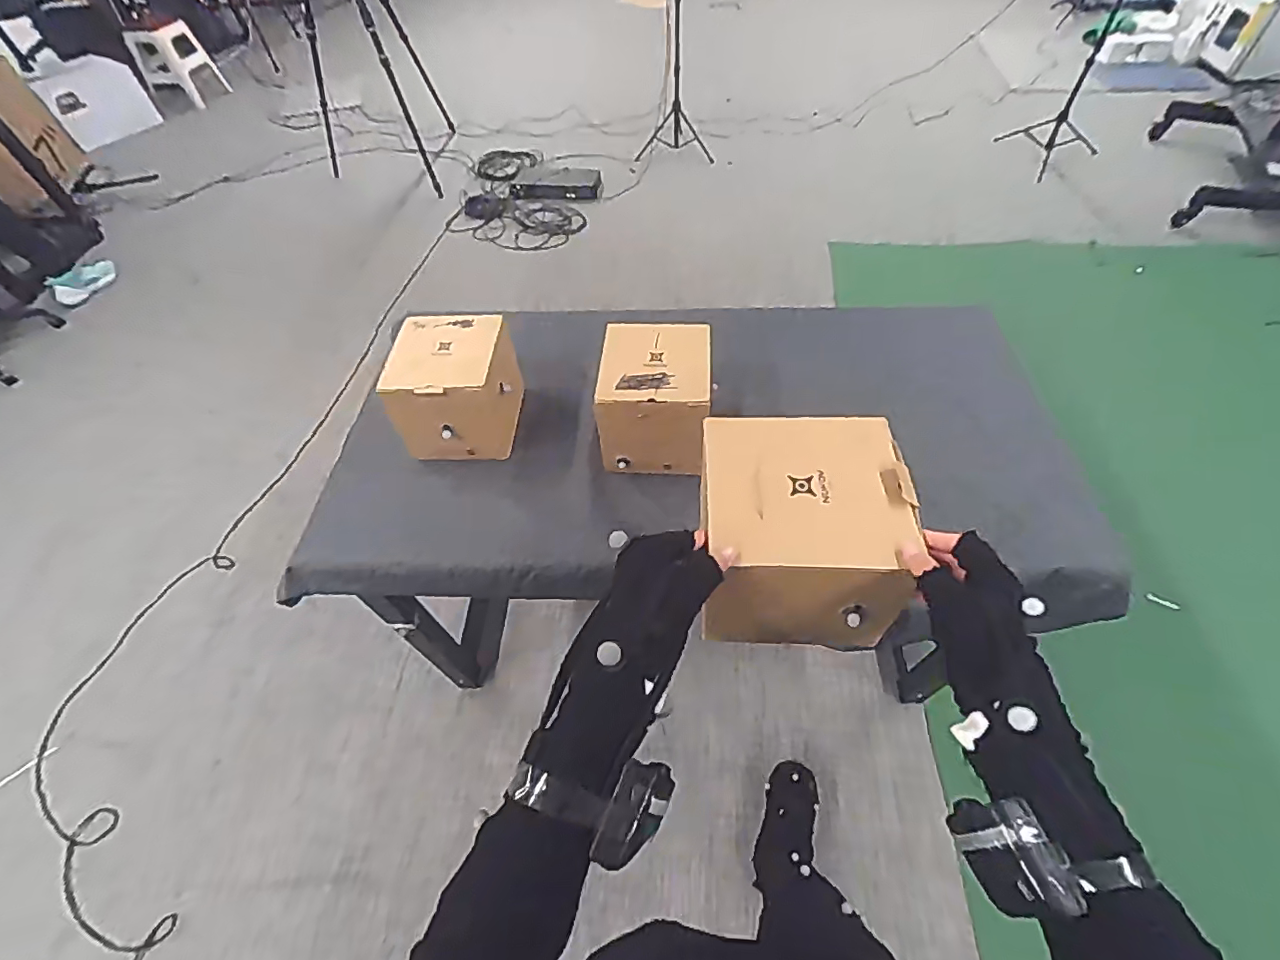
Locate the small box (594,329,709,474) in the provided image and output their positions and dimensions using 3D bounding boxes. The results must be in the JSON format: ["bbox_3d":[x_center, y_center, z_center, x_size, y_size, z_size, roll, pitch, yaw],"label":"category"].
[{"bbox_3d":[0.027,-0.124,0.881,0.168,0.176,0.179,2,53,5],"label":"small box"}]

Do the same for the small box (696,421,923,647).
[{"bbox_3d":[0.147,0.058,0.542,0.179,0.176,0.168,-2,52,5],"label":"small box"}]

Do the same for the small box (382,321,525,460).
[{"bbox_3d":[-0.302,-0.146,0.919,0.168,0.176,0.179,-1,54,3],"label":"small box"}]
